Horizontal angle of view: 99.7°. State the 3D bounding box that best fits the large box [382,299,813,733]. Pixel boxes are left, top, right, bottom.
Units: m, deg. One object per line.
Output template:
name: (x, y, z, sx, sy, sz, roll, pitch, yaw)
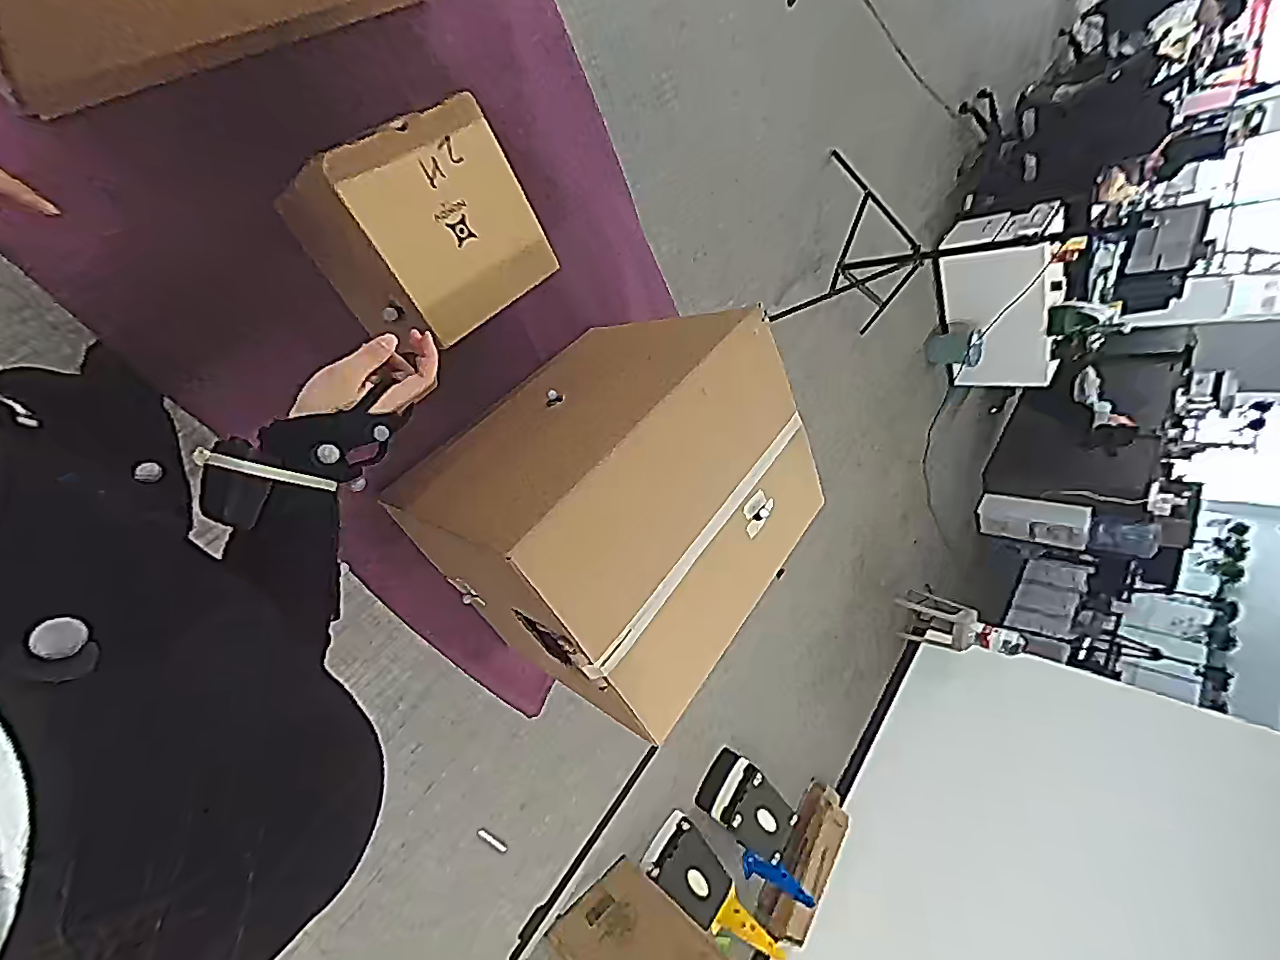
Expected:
large box: (-0.033, 0.020, 0.705, 0.408, 0.320, 0.320, -48, 128, -29)
